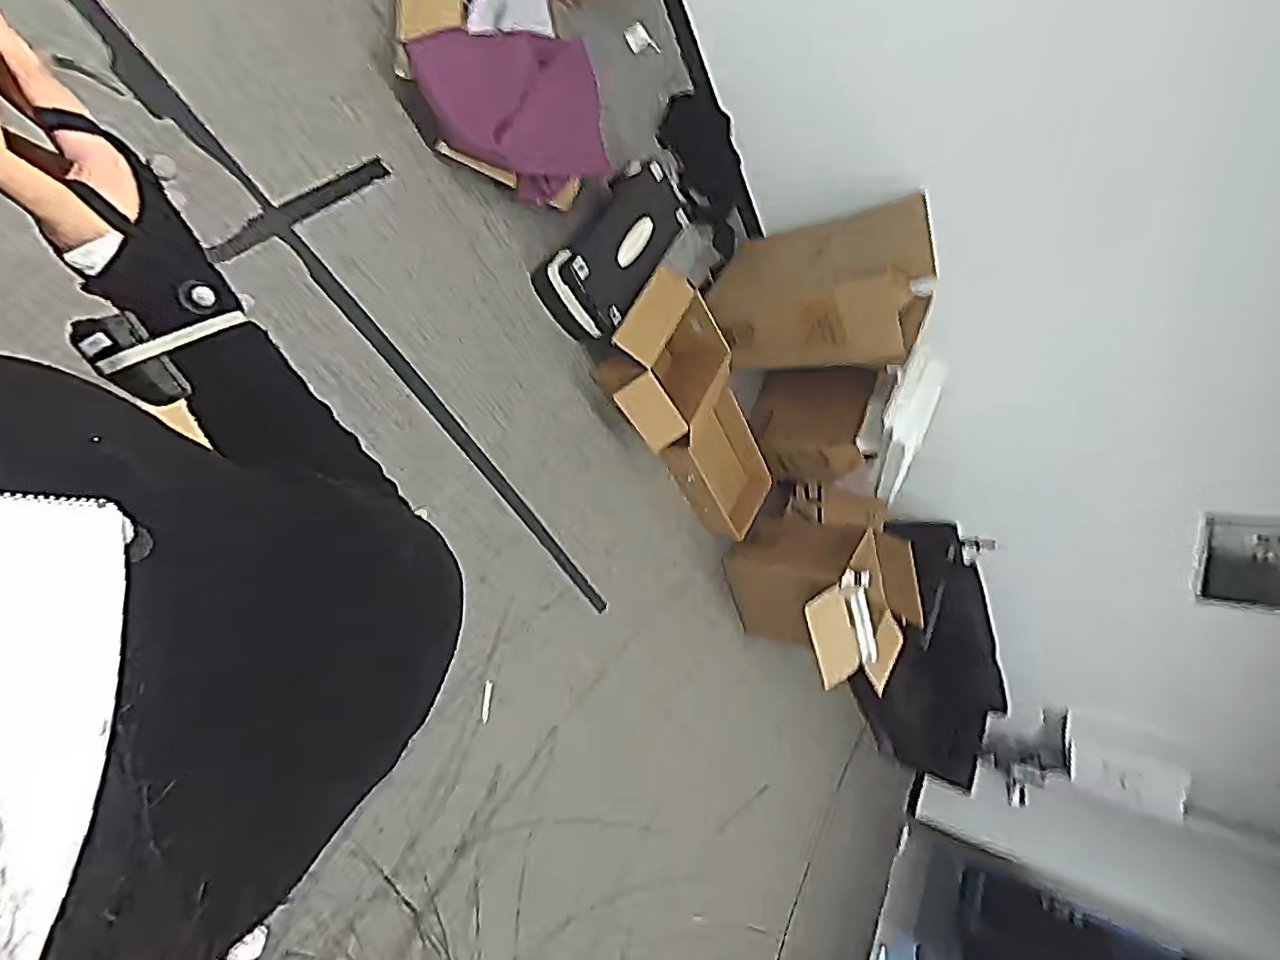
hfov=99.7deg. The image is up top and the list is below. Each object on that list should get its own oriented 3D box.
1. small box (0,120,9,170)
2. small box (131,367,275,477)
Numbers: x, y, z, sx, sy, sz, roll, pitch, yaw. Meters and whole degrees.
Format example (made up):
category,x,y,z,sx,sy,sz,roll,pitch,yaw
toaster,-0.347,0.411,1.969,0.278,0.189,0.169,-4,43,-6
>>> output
category,x,y,z,sx,sy,sz,roll,pitch,yaw
small box,-0.461,-0.265,0.265,0.168,0.176,0.179,-17,118,-47
small box,-0.922,-0.125,1.144,0.168,0.176,0.179,-41,122,-38
